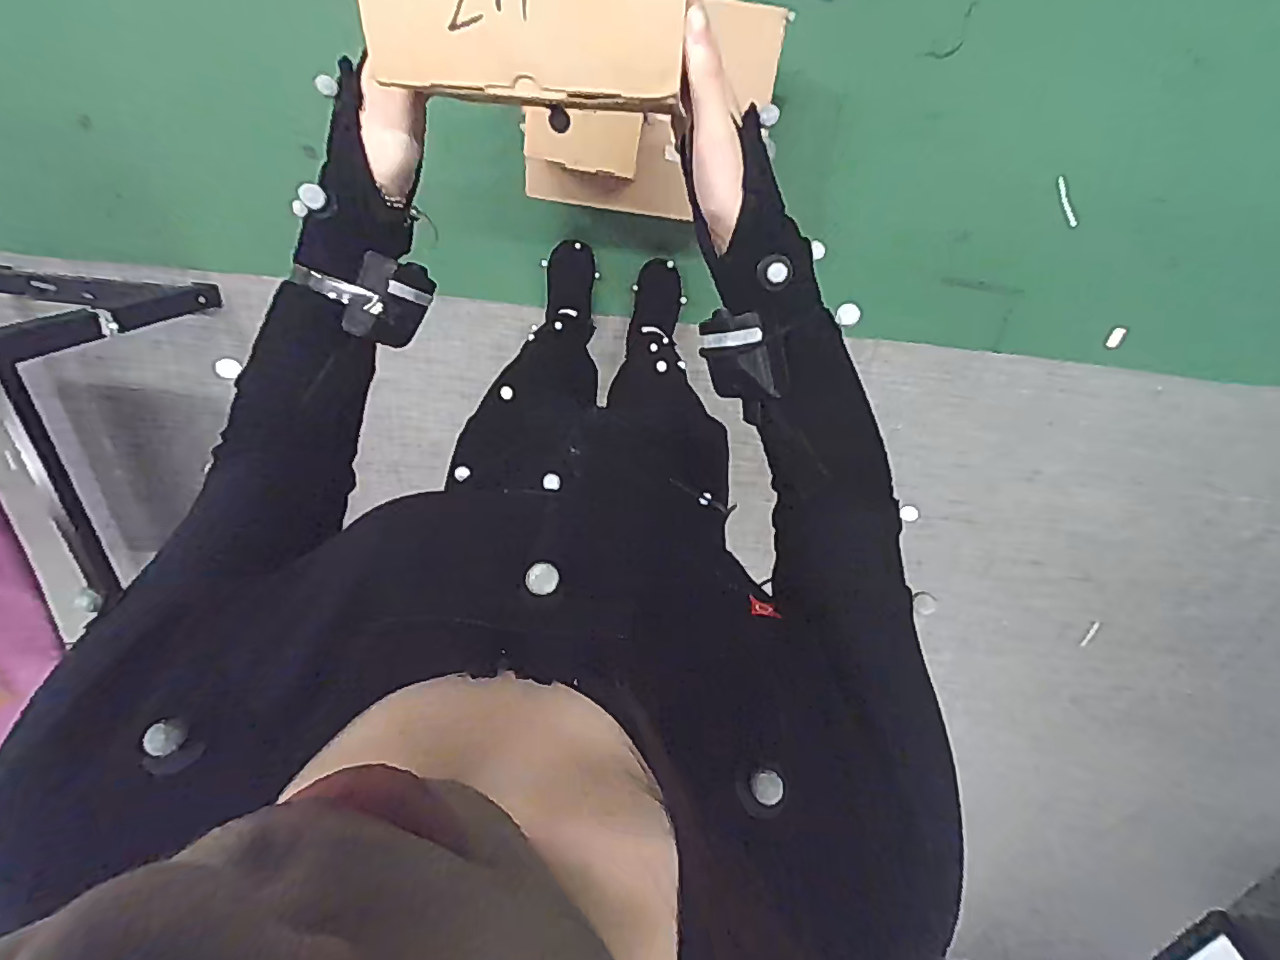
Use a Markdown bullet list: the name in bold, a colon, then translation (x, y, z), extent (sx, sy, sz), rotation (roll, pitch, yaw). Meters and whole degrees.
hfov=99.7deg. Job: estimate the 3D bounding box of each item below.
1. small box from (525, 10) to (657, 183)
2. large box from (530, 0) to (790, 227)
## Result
- **small box**: translation (-0.071, -0.560, 0.813), extent (0.168, 0.176, 0.179), rotation (9, 120, -3)
- **large box**: translation (0.019, -0.678, 1.023), extent (0.408, 0.320, 0.320), rotation (7, 119, -2)
